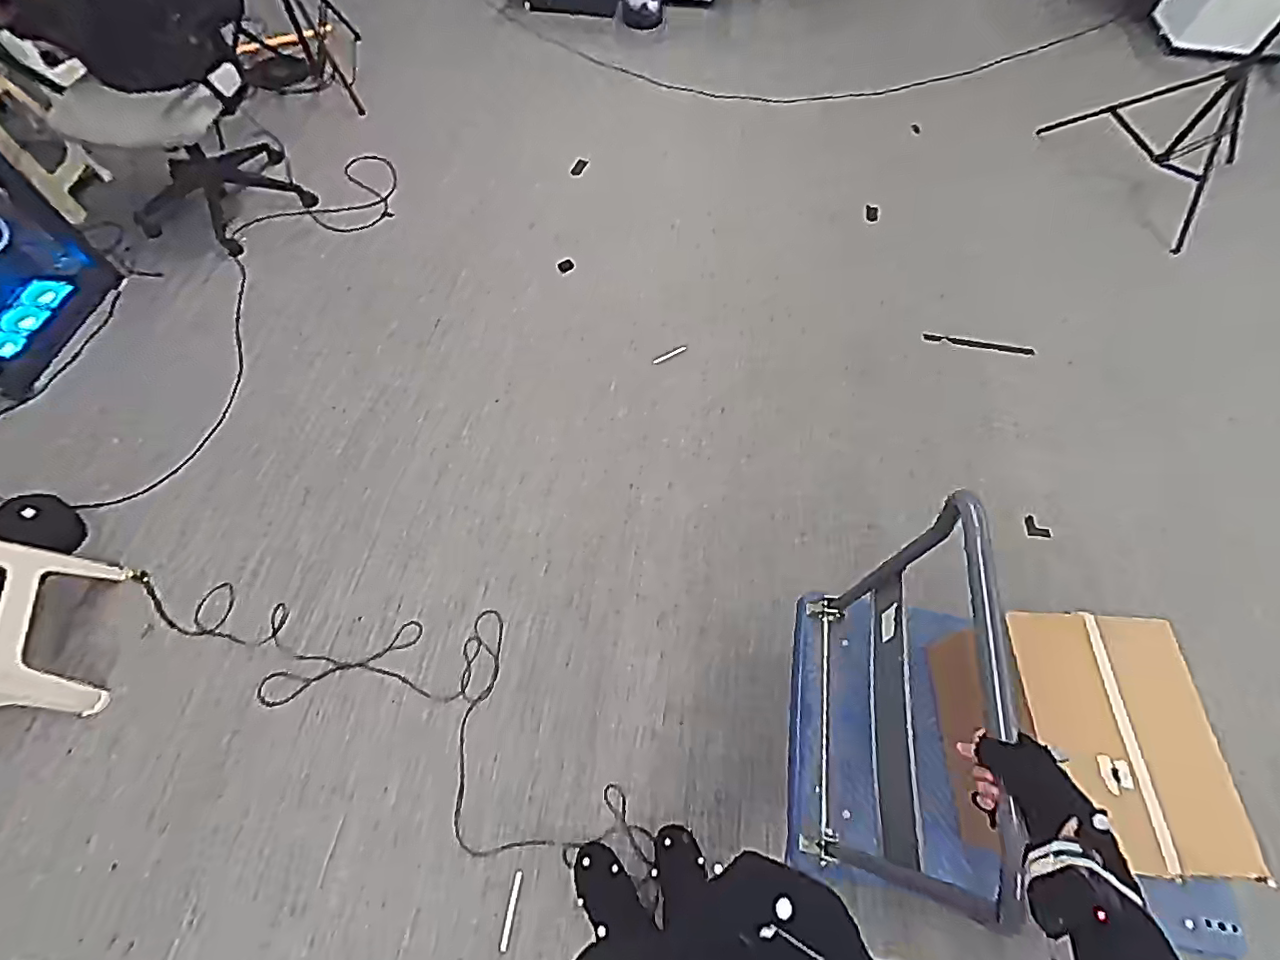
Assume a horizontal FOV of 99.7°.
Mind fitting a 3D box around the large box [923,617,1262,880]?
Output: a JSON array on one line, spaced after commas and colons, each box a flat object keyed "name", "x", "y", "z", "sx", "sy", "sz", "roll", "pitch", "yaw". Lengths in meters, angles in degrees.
[{"name": "large box", "x": 0.817, "y": 0.506, "z": 1.060, "sx": 0.320, "sy": 0.320, "sz": 0.408, "roll": 3, "pitch": 62, "yaw": 0}]
